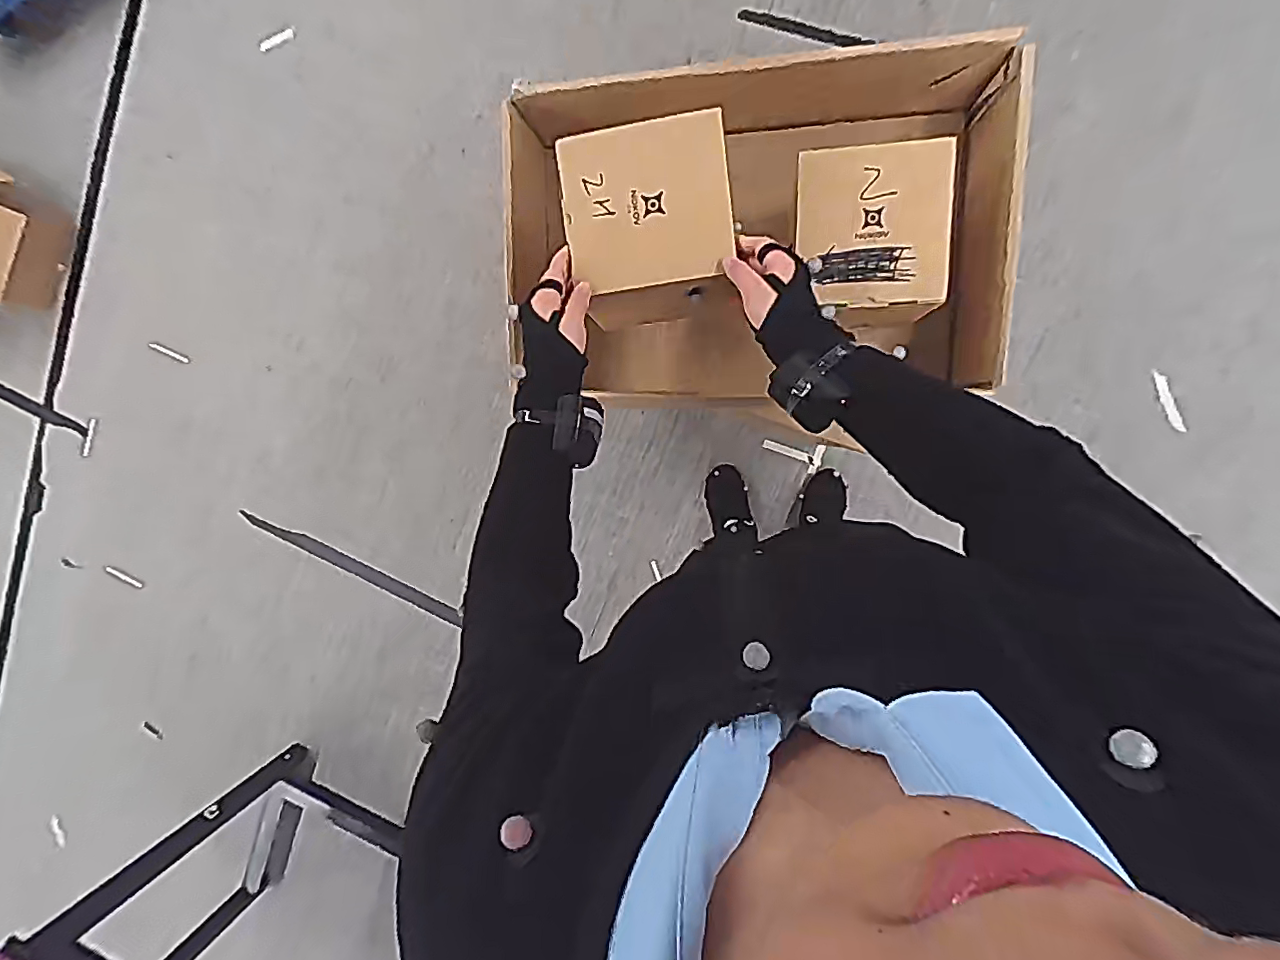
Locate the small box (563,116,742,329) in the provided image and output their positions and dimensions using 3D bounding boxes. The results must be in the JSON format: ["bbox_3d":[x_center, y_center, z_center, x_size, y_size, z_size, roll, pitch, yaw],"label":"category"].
[{"bbox_3d":[0.021,-0.287,0.643,0.179,0.176,0.168,-6,92,8],"label":"small box"}]
